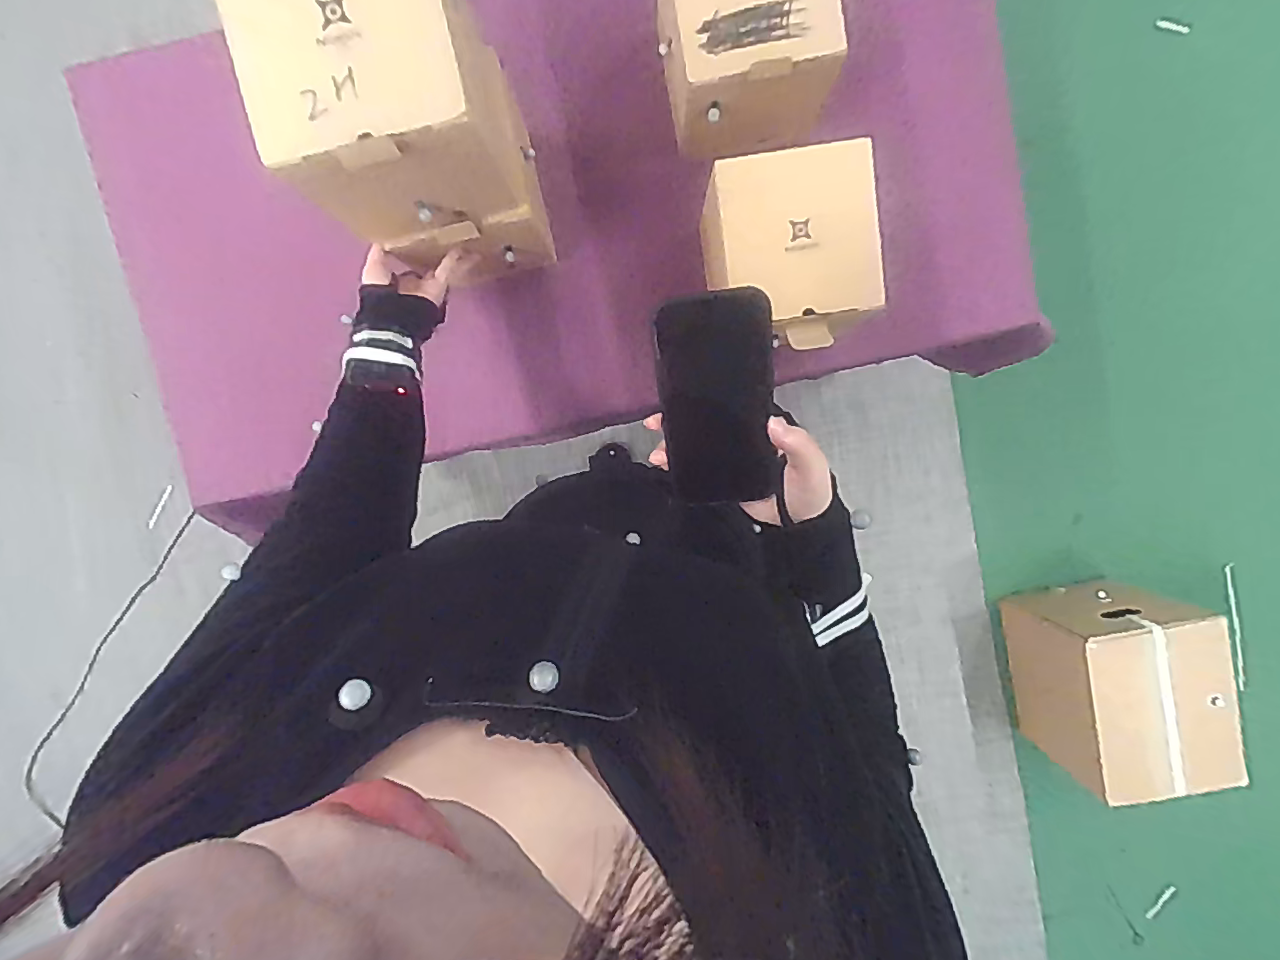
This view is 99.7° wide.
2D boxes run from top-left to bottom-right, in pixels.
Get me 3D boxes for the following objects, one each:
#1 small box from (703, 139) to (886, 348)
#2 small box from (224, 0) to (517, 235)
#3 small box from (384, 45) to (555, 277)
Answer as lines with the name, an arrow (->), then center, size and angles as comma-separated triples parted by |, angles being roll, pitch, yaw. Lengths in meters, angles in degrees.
small box -> 0.172, -0.266, 0.648 | 0.168, 0.176, 0.179 | -7, 96, 2
small box -> -0.224, -0.350, 0.484 | 0.168, 0.176, 0.179 | -12, 95, 2
small box -> -0.208, -0.359, 0.649 | 0.168, 0.176, 0.179 | -12, 95, 2
